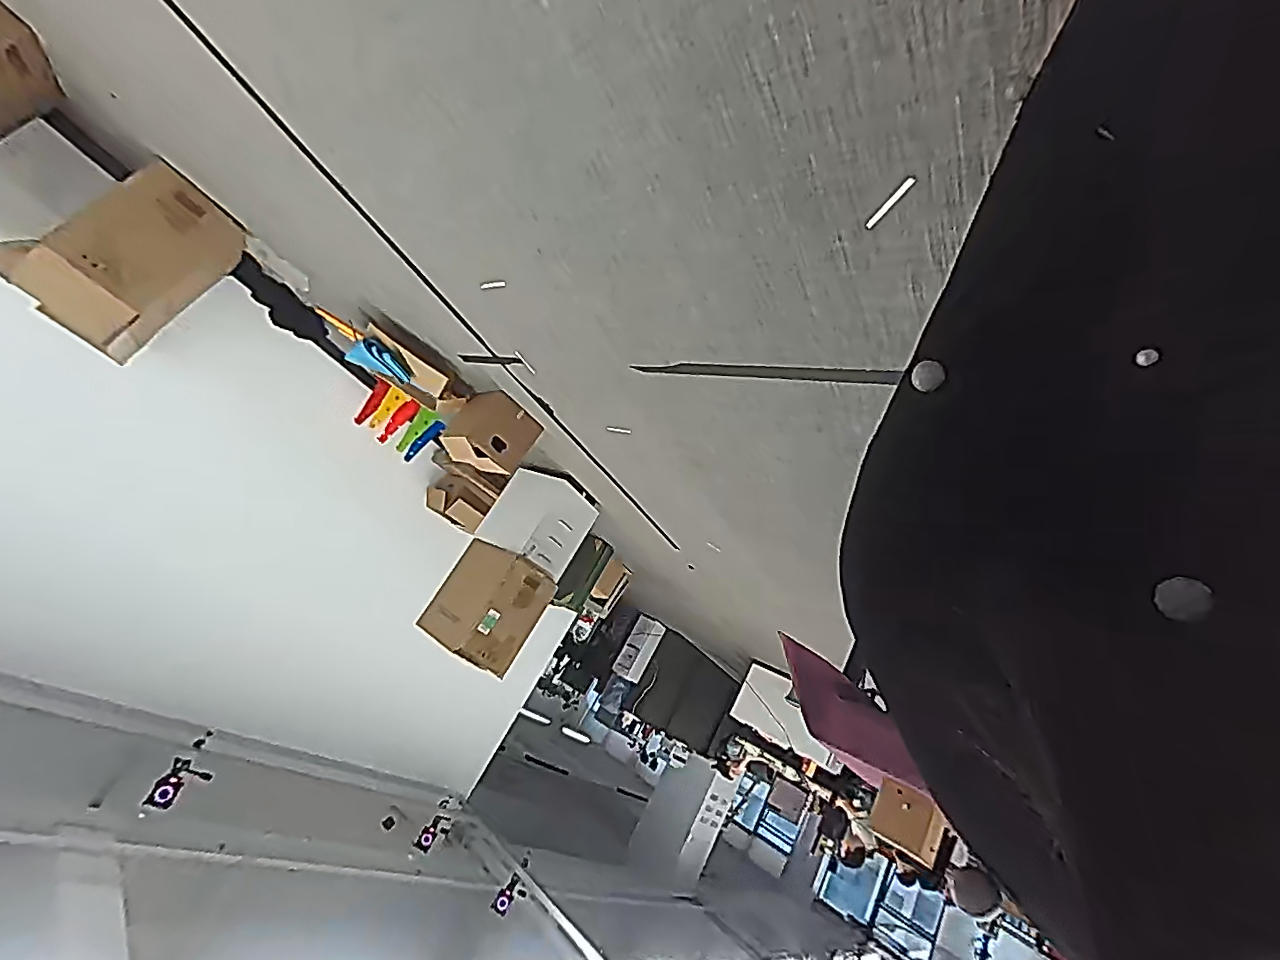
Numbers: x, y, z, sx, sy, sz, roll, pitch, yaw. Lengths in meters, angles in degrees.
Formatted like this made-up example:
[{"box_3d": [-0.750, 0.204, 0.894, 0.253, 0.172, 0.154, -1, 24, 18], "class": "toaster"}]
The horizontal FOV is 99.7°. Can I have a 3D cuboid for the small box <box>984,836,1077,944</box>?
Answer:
[{"box_3d": [1.081, 1.125, 1.490, 0.179, 0.176, 0.168, 9, 151, 47], "class": "small box"}]

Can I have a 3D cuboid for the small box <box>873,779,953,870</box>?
[{"box_3d": [0.871, 1.089, 1.716, 0.168, 0.176, 0.179, 9, 150, 47], "class": "small box"}]
